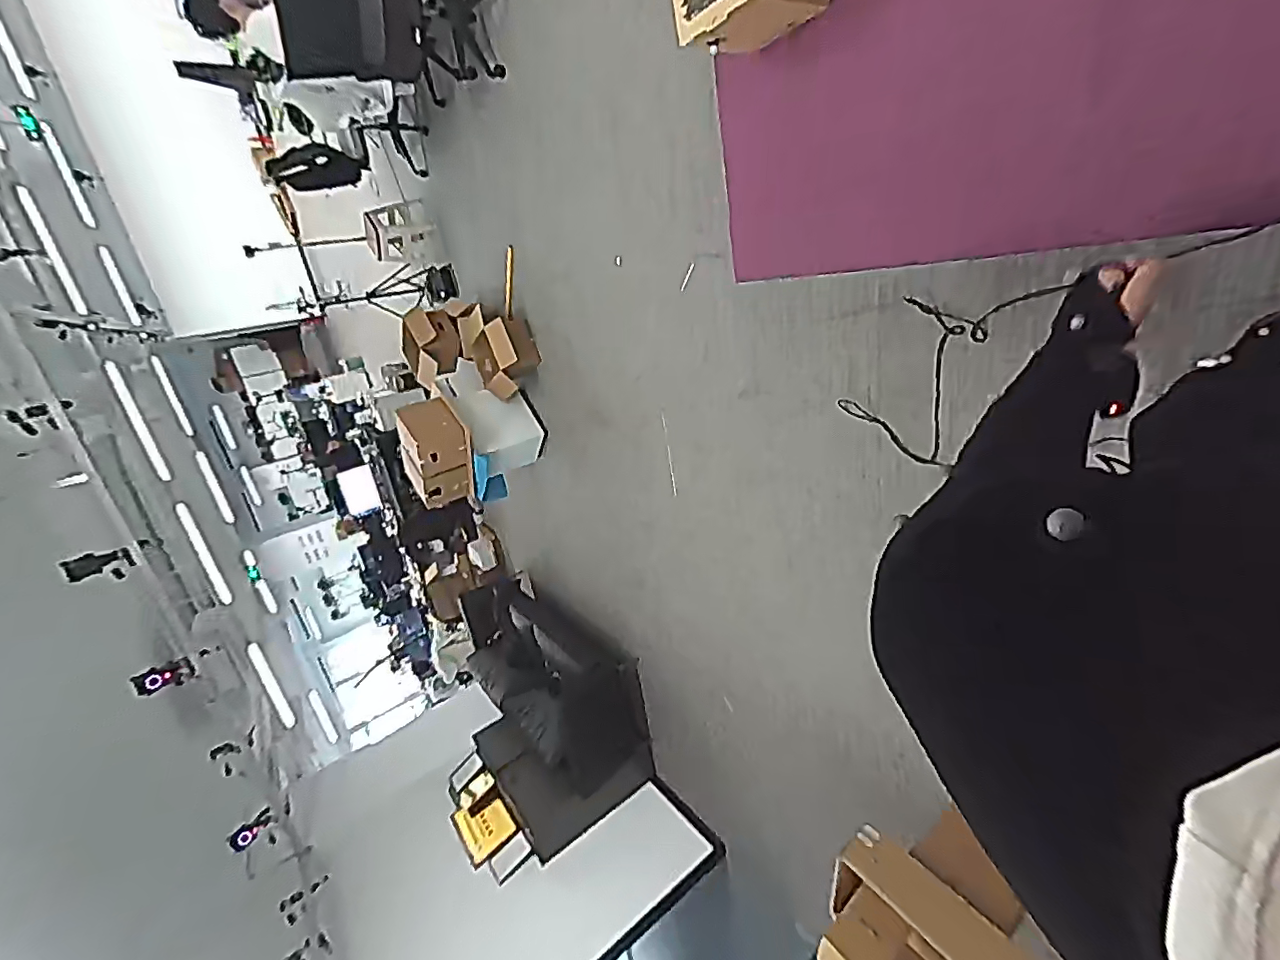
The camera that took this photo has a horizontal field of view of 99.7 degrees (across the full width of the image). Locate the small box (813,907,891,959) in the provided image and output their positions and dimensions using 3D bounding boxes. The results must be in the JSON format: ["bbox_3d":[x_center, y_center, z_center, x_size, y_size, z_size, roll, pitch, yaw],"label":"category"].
[{"bbox_3d":[0.689,1.556,1.758,0.168,0.176,0.179,30,132,44],"label":"small box"}]

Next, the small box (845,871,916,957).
[{"bbox_3d":[0.814,1.502,1.848,0.168,0.176,0.179,31,133,44],"label":"small box"}]
